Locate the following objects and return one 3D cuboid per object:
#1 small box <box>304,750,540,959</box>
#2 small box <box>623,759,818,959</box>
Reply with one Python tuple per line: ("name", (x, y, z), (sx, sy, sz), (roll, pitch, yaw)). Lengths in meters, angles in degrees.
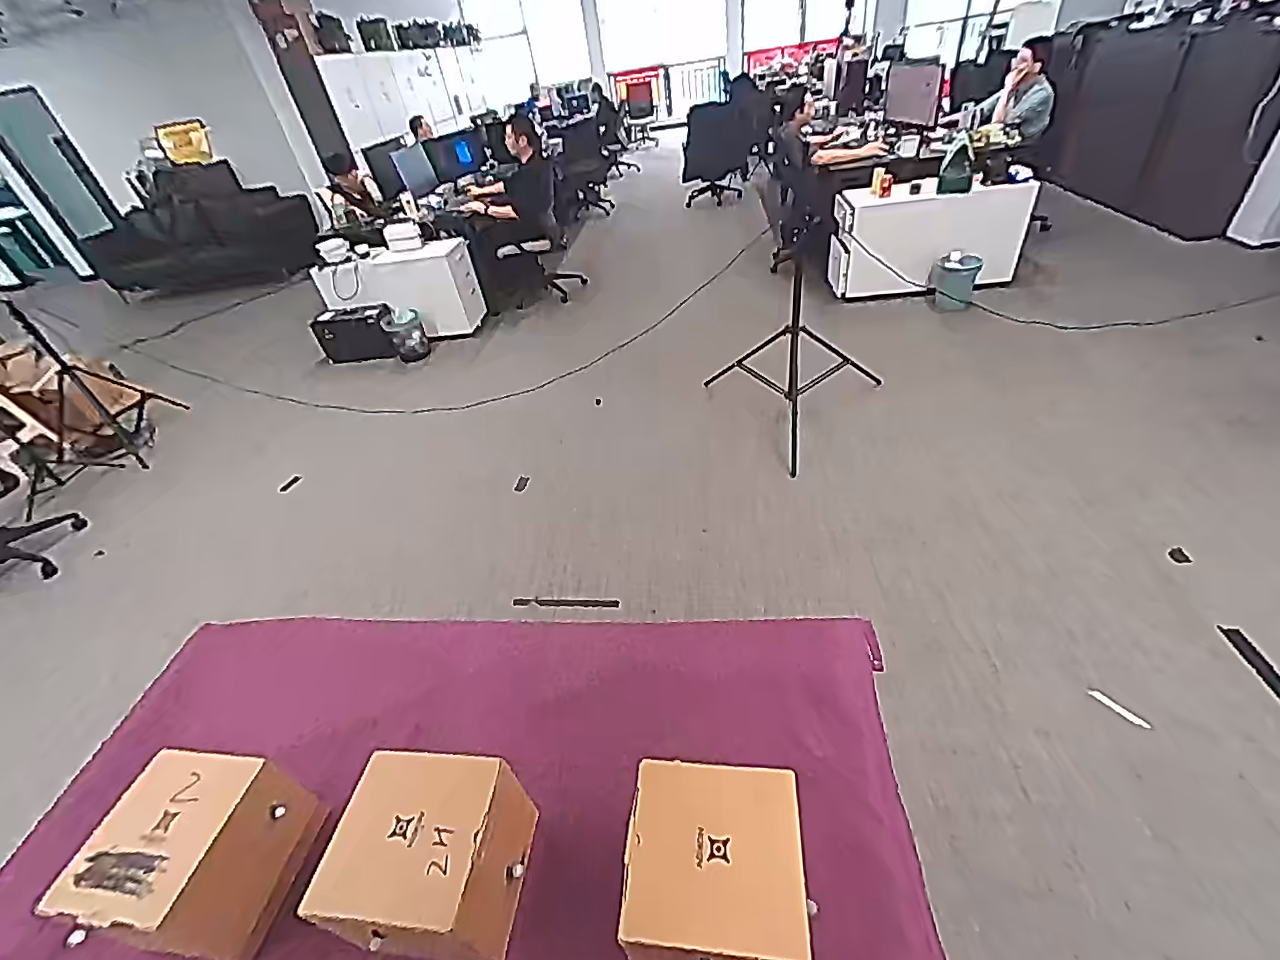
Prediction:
("small box", (-0.240, 0.447, 0.647), (0.179, 0.176, 0.168), (-2, 40, 10))
("small box", (0.091, 0.432, 0.592), (0.179, 0.176, 0.168), (-2, 38, 11))
